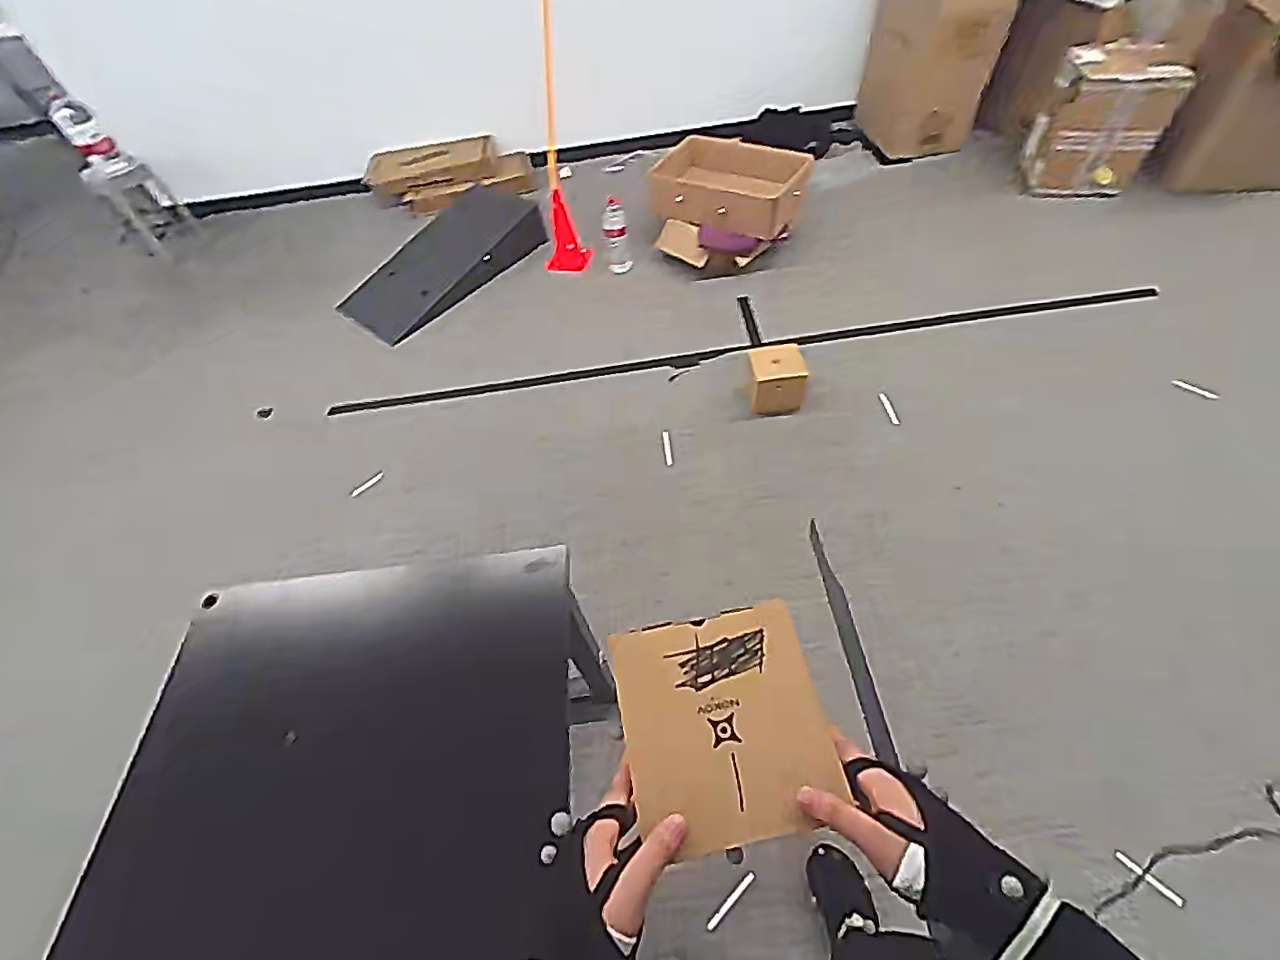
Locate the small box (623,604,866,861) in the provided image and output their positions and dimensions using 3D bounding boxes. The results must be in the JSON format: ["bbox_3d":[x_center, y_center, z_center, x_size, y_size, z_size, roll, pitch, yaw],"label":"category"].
[{"bbox_3d":[0.078,0.240,0.511,0.168,0.176,0.179,-10,57,-3],"label":"small box"}]

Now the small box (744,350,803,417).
[{"bbox_3d":[0.474,-0.342,1.952,0.179,0.176,0.168,-7,54,1],"label":"small box"}]
